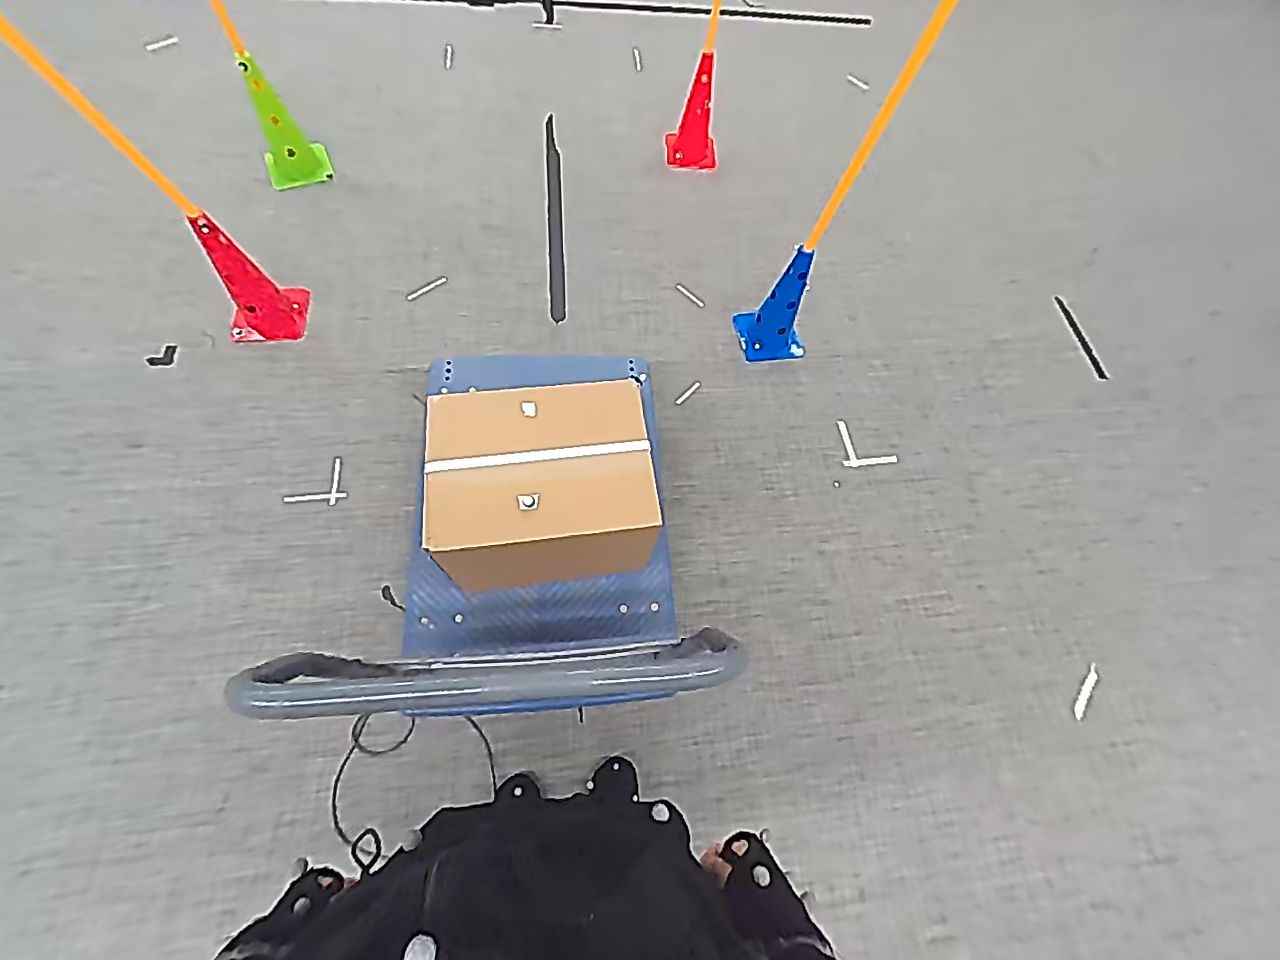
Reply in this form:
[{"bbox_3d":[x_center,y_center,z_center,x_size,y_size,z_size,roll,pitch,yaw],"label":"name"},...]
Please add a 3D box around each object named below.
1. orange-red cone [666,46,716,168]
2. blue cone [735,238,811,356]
[{"bbox_3d":[0.220,-1.376,1.975,0.199,0.360,0.198,3,66,-5],"label":"orange-red cone"},{"bbox_3d":[0.437,-0.559,1.636,0.193,0.380,0.192,-7,65,-9],"label":"blue cone"}]
